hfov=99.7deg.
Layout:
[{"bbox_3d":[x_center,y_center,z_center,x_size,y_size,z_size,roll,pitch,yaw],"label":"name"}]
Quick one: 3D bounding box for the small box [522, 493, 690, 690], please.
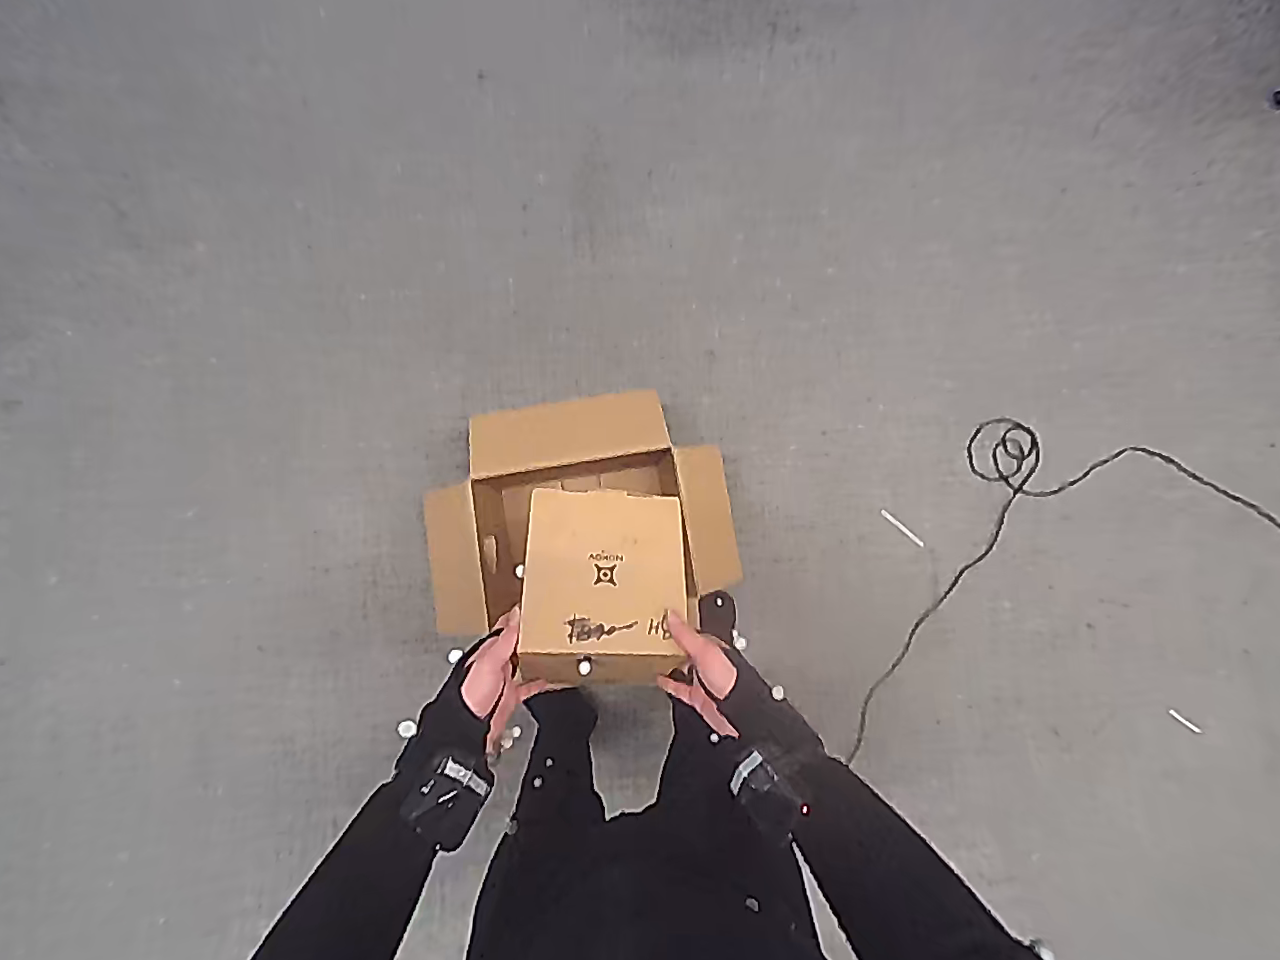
[{"bbox_3d":[-0.045,0.135,0.626,0.168,0.176,0.179,3,59,-8],"label":"small box"}]
